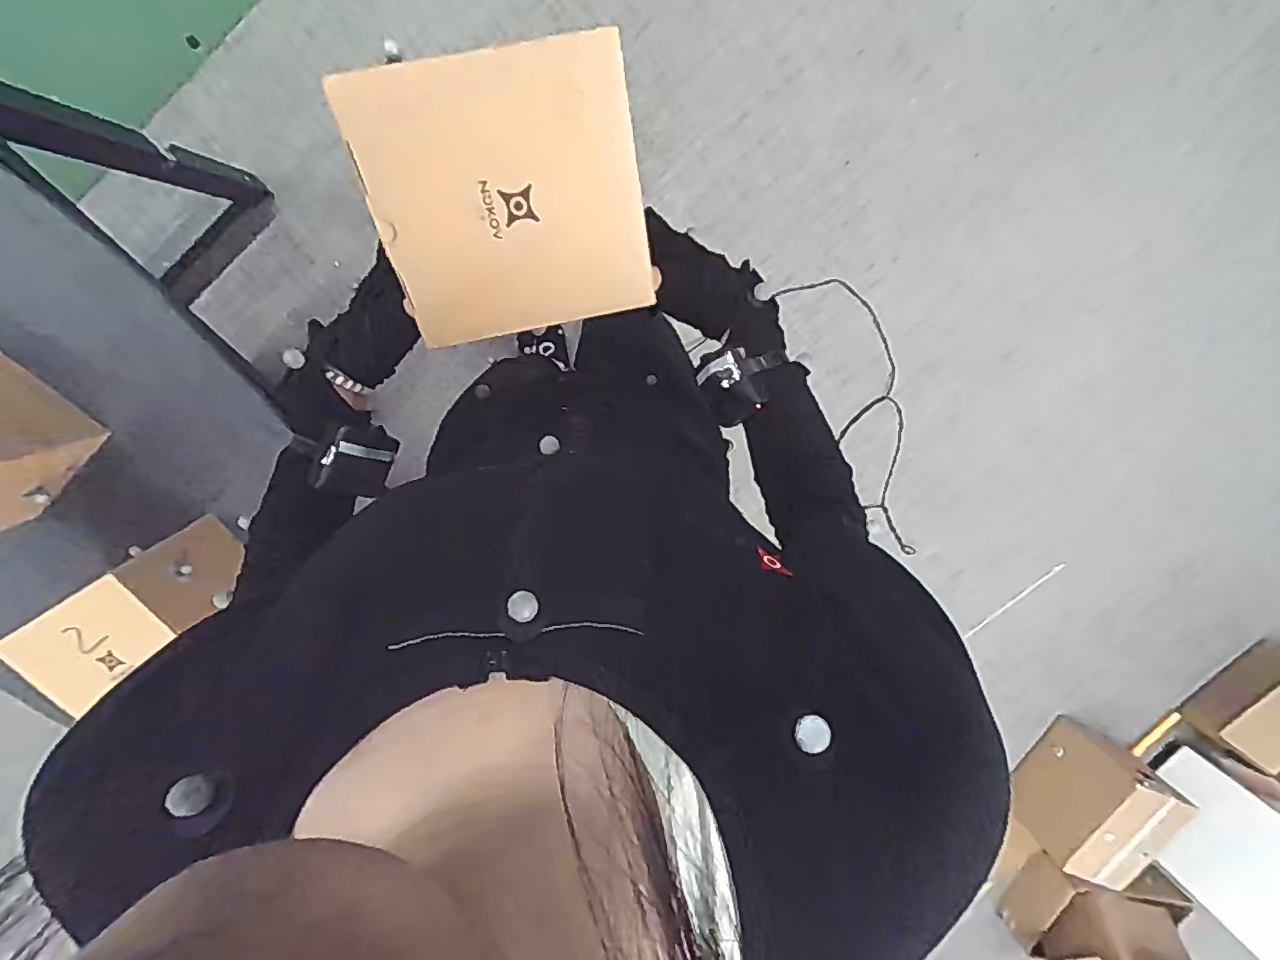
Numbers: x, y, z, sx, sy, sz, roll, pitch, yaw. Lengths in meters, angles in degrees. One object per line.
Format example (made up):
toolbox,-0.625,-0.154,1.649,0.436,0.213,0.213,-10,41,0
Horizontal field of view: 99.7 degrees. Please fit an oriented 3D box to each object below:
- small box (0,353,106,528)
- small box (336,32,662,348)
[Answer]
small box,-0.756,-0.037,0.573,0.168,0.176,0.179,-42,108,8
small box,-0.091,-0.224,0.419,0.179,0.176,0.168,-12,125,-2
